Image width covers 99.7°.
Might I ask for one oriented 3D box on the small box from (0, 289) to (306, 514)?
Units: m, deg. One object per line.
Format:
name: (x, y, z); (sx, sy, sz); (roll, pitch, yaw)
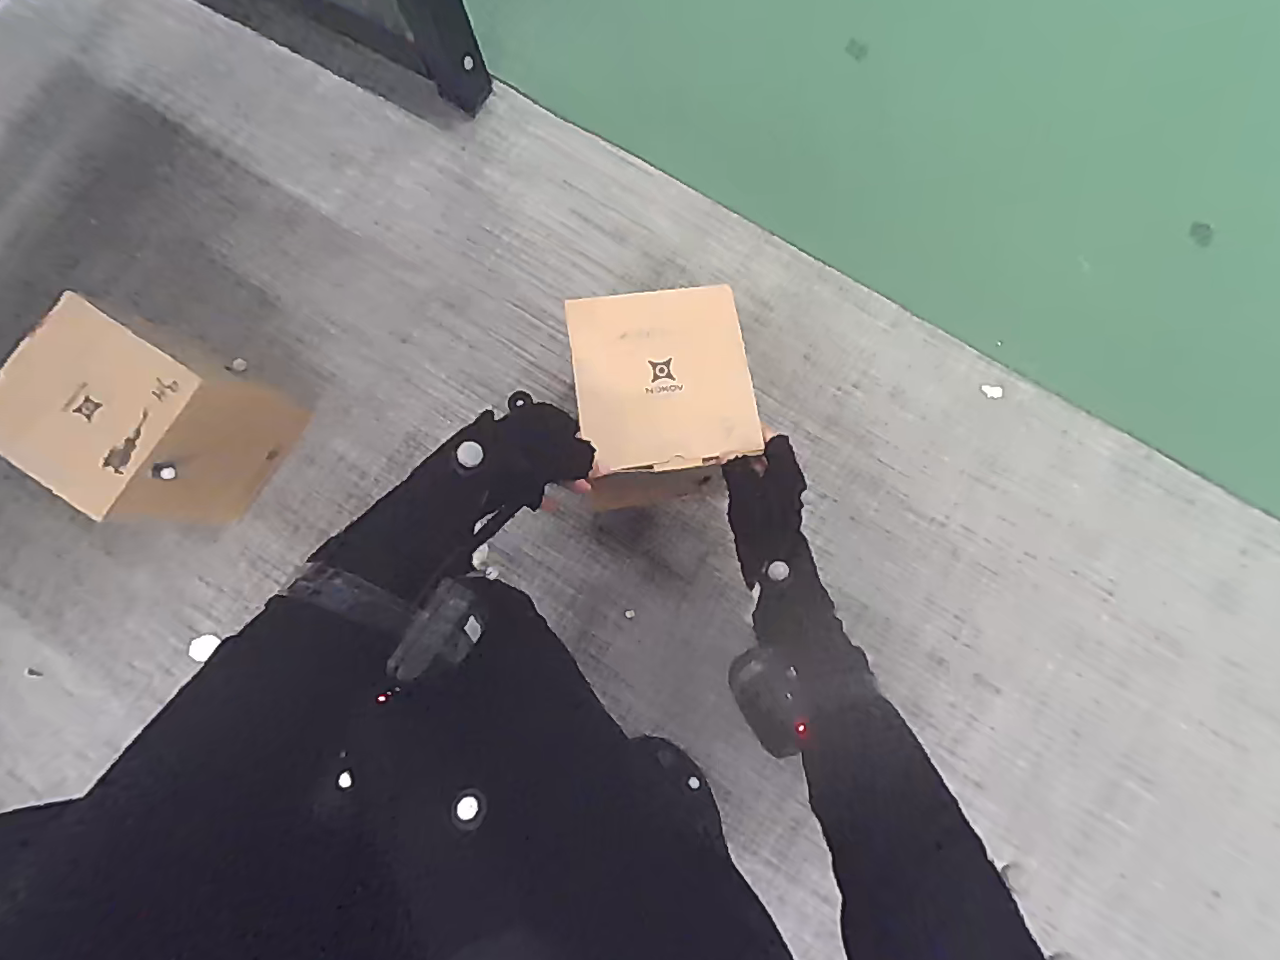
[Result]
small box: (-0.533, -0.071, 0.604); (0.179, 0.176, 0.168); (32, 87, 6)
